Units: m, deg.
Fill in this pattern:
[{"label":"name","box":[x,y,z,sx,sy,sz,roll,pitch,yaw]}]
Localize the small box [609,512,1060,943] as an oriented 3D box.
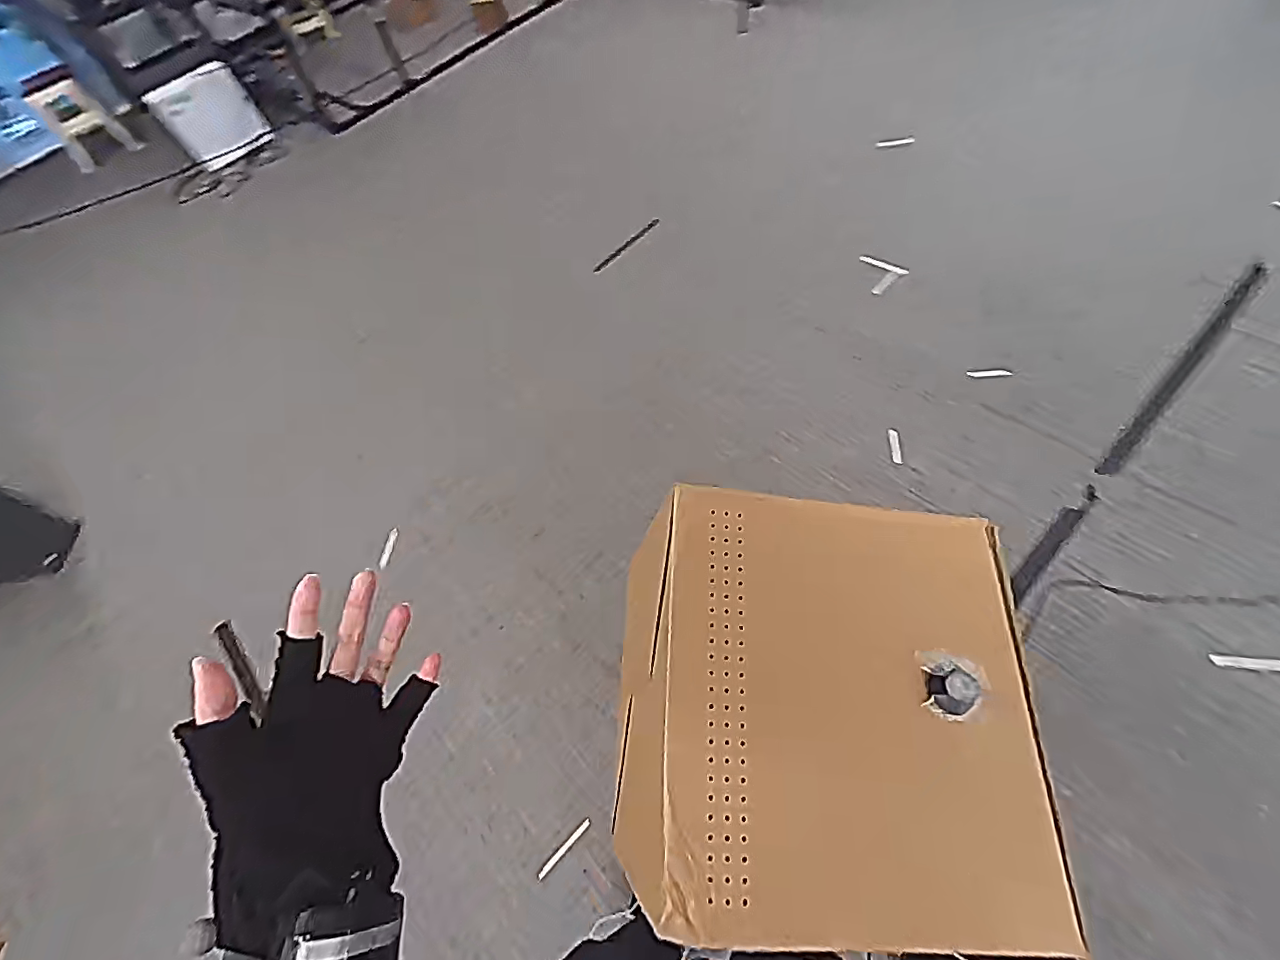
[{"label":"small box","box":[0.079,0.128,0.311,0.176,0.168,0.179,7,66,-5]}]
